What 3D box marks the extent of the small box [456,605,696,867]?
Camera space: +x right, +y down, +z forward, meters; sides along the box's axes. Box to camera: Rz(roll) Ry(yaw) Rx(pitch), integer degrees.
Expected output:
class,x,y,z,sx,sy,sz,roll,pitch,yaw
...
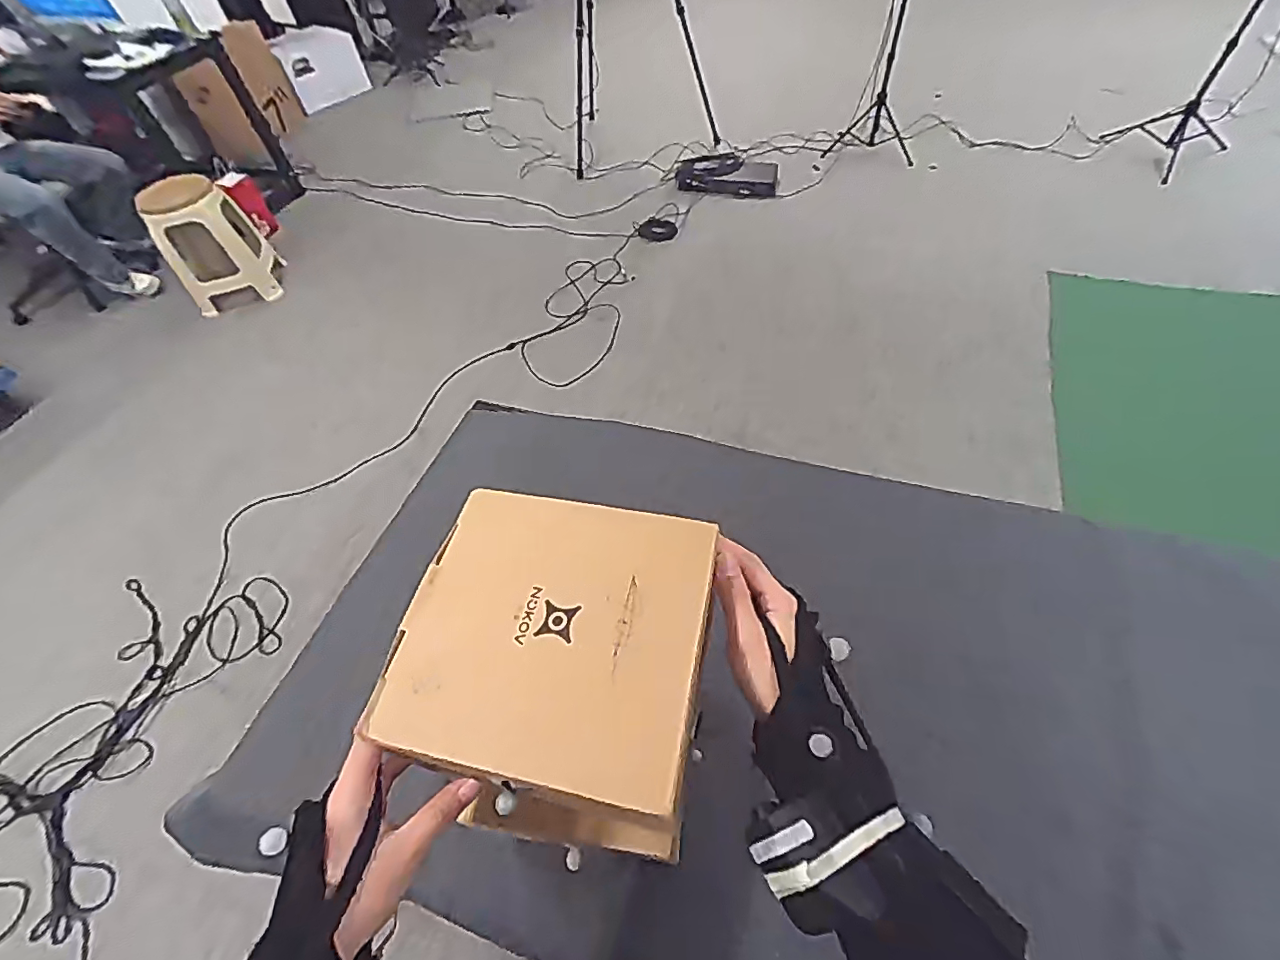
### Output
class,x,y,z,sx,sy,sz,roll,pitch,yaw
small box,-0.039,0.238,0.501,0.168,0.176,0.179,4,54,9
